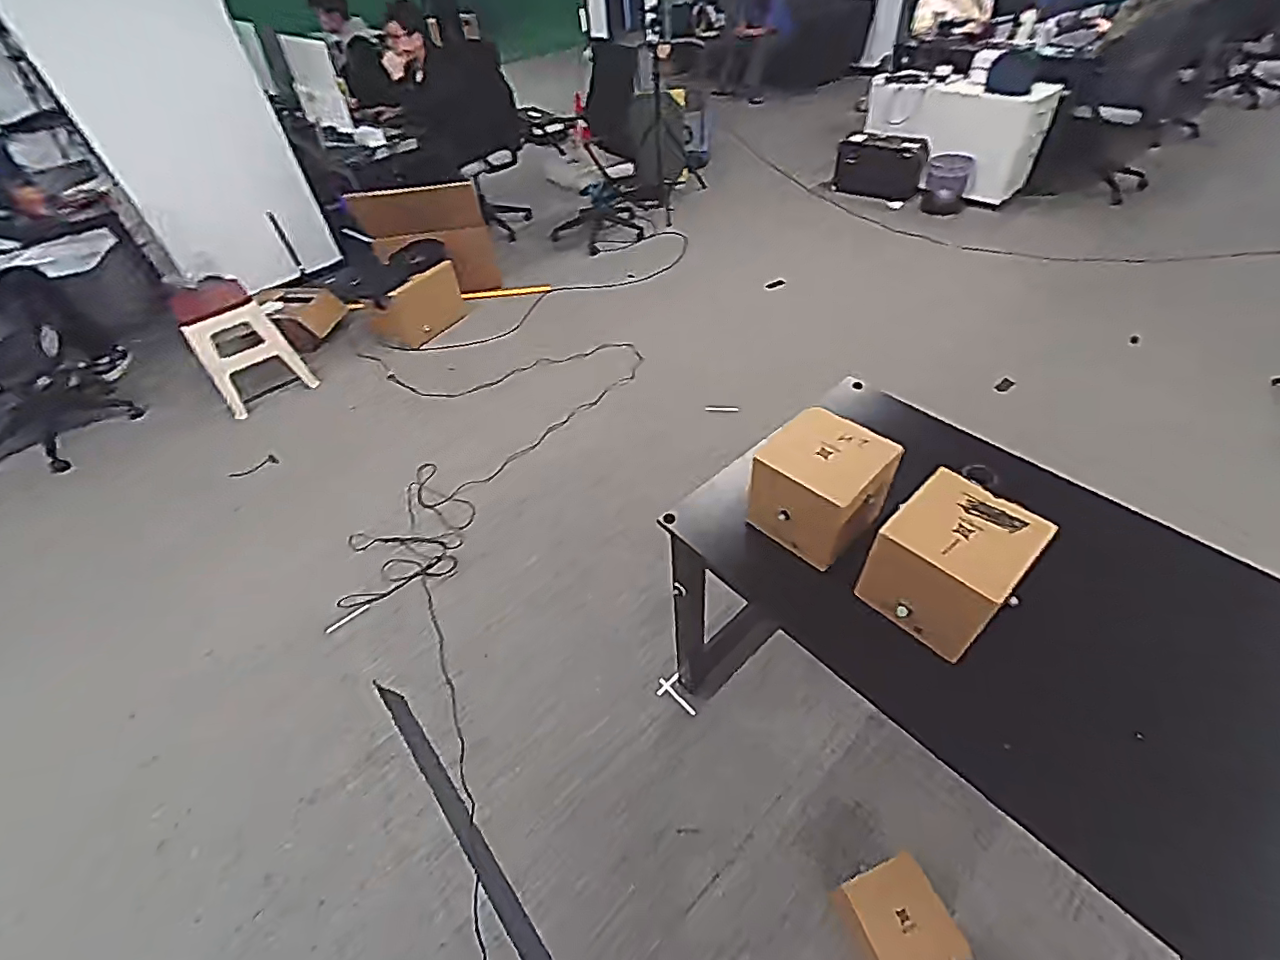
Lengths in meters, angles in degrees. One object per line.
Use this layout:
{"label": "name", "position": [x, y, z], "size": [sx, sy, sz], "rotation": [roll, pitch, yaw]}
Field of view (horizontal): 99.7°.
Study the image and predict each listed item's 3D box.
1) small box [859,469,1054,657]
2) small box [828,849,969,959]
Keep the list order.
{"label": "small box", "position": [0.452, 0.122, 0.799], "size": [0.179, 0.176, 0.168], "rotation": [-35, 53, -24]}
{"label": "small box", "position": [0.505, 0.883, 1.083], "size": [0.168, 0.176, 0.179], "rotation": [-18, 47, -11]}
